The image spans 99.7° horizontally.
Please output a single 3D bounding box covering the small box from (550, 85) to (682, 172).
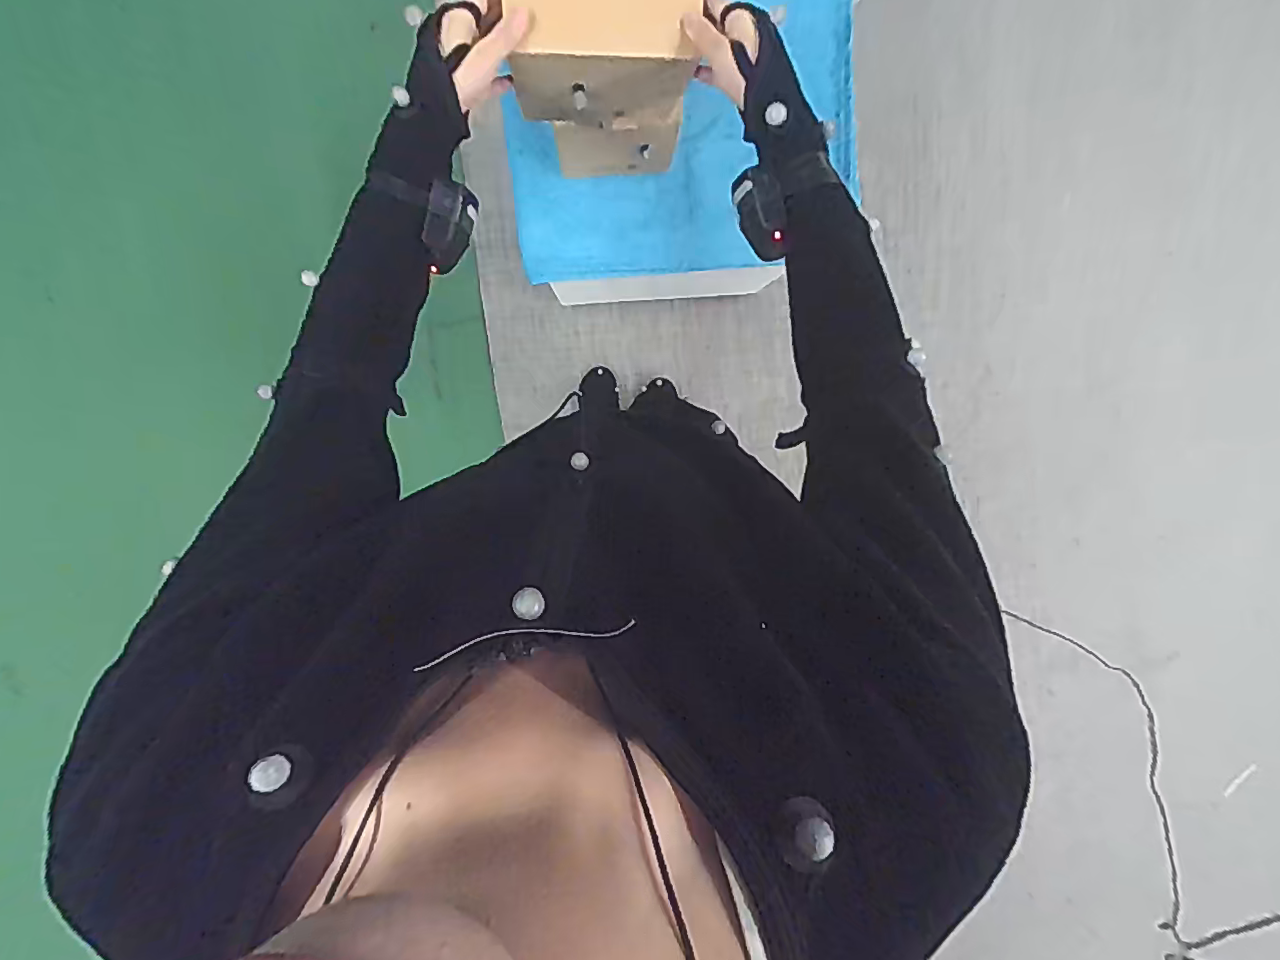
[{"bbox_3d":[-0.038,-0.536,0.730,0.168,0.176,0.179,-5,98,-4],"label":"small box"}]

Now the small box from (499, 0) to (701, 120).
[{"bbox_3d":[-0.038,-0.457,0.497,0.168,0.176,0.179,-2,106,-6],"label":"small box"}]
